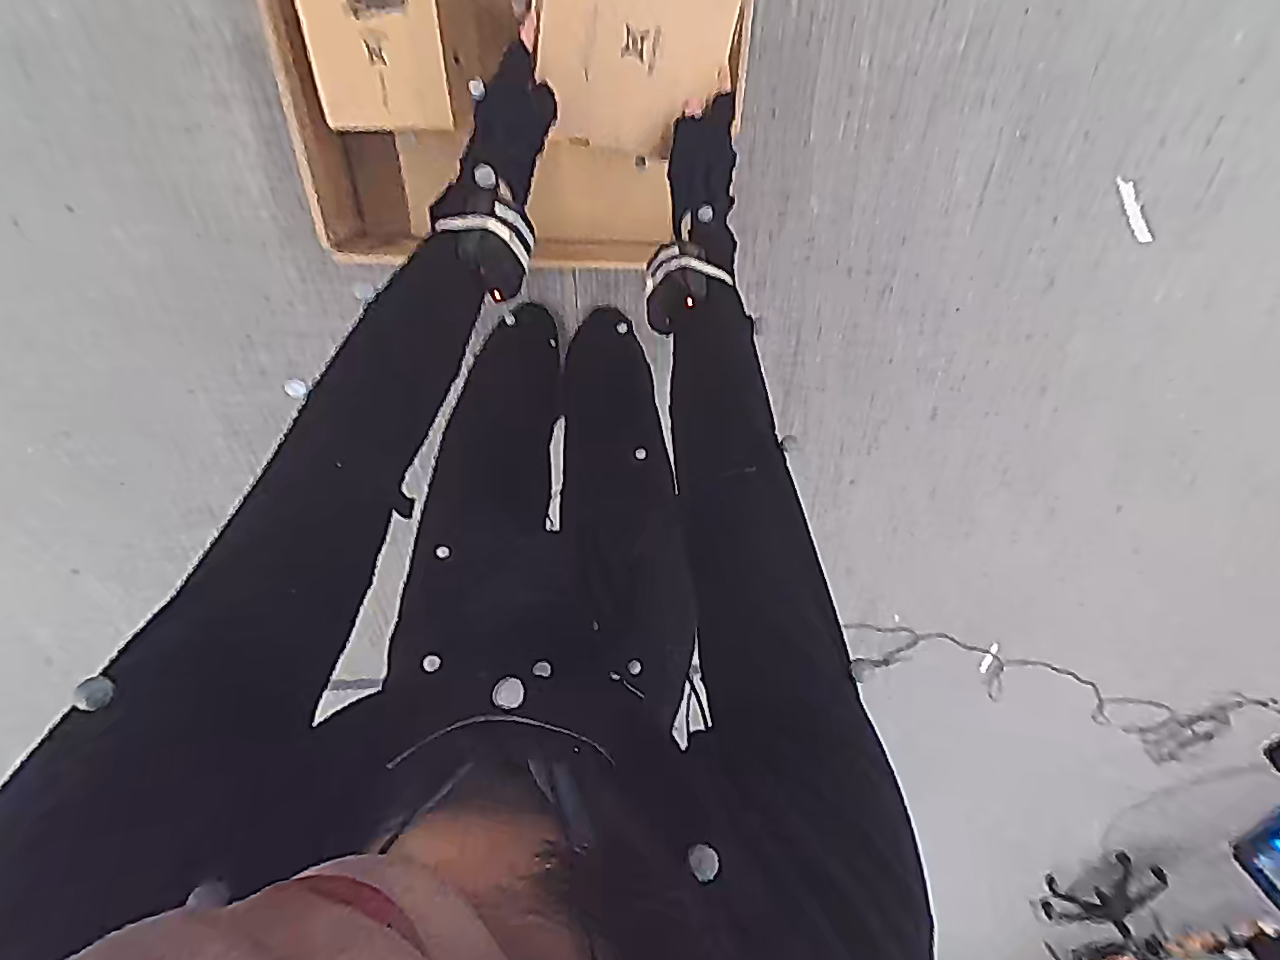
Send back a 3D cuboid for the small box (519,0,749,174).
[{"bbox_3d":[-0.019,-0.425,0.538,0.179,0.176,0.168,4,123,-19],"label":"small box"}]
